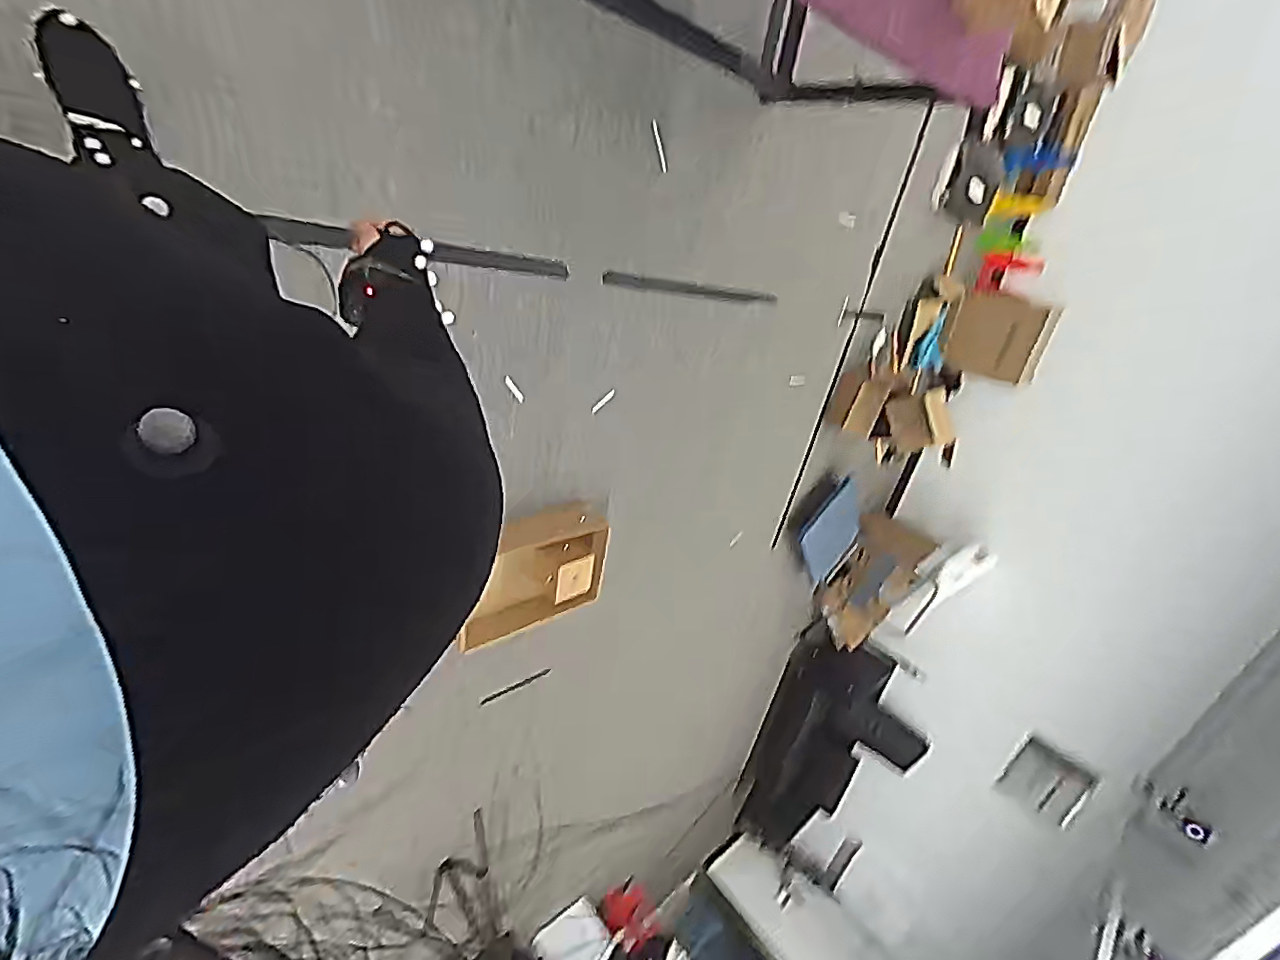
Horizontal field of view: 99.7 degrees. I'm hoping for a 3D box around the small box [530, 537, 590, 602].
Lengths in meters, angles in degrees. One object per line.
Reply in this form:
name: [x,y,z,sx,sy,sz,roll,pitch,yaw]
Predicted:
small box: [-0.319,0.344,2.134,0.168,0.176,0.179,-15,126,-40]
